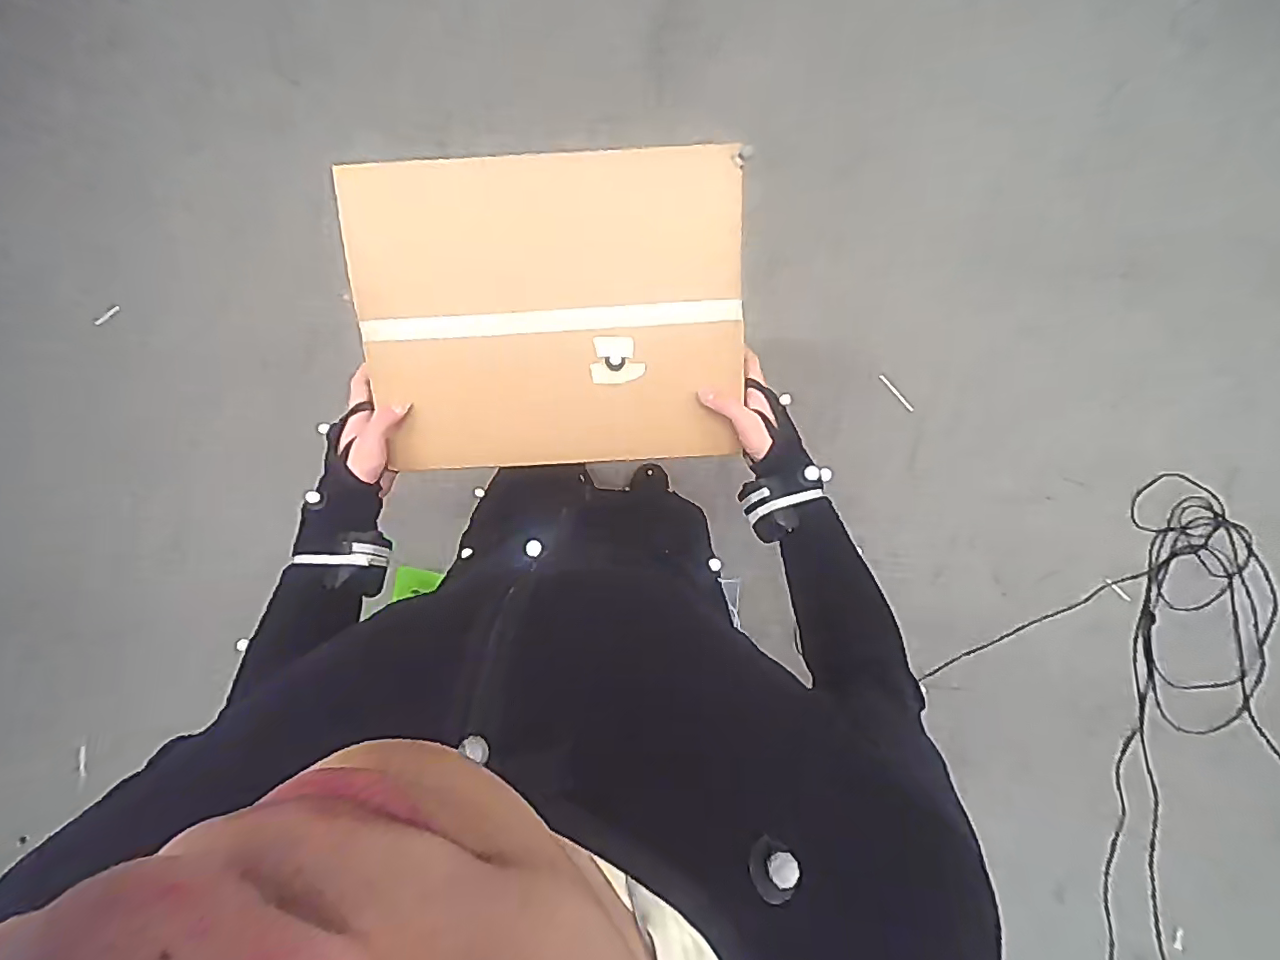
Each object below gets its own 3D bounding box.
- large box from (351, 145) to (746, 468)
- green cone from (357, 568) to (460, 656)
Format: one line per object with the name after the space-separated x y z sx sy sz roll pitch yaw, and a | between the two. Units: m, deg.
-0.090 -0.213 0.725 0.408 0.320 0.320 -3 106 0 | large box
-0.669 0.392 1.493 0.200 0.368 0.202 10 94 1 | green cone
